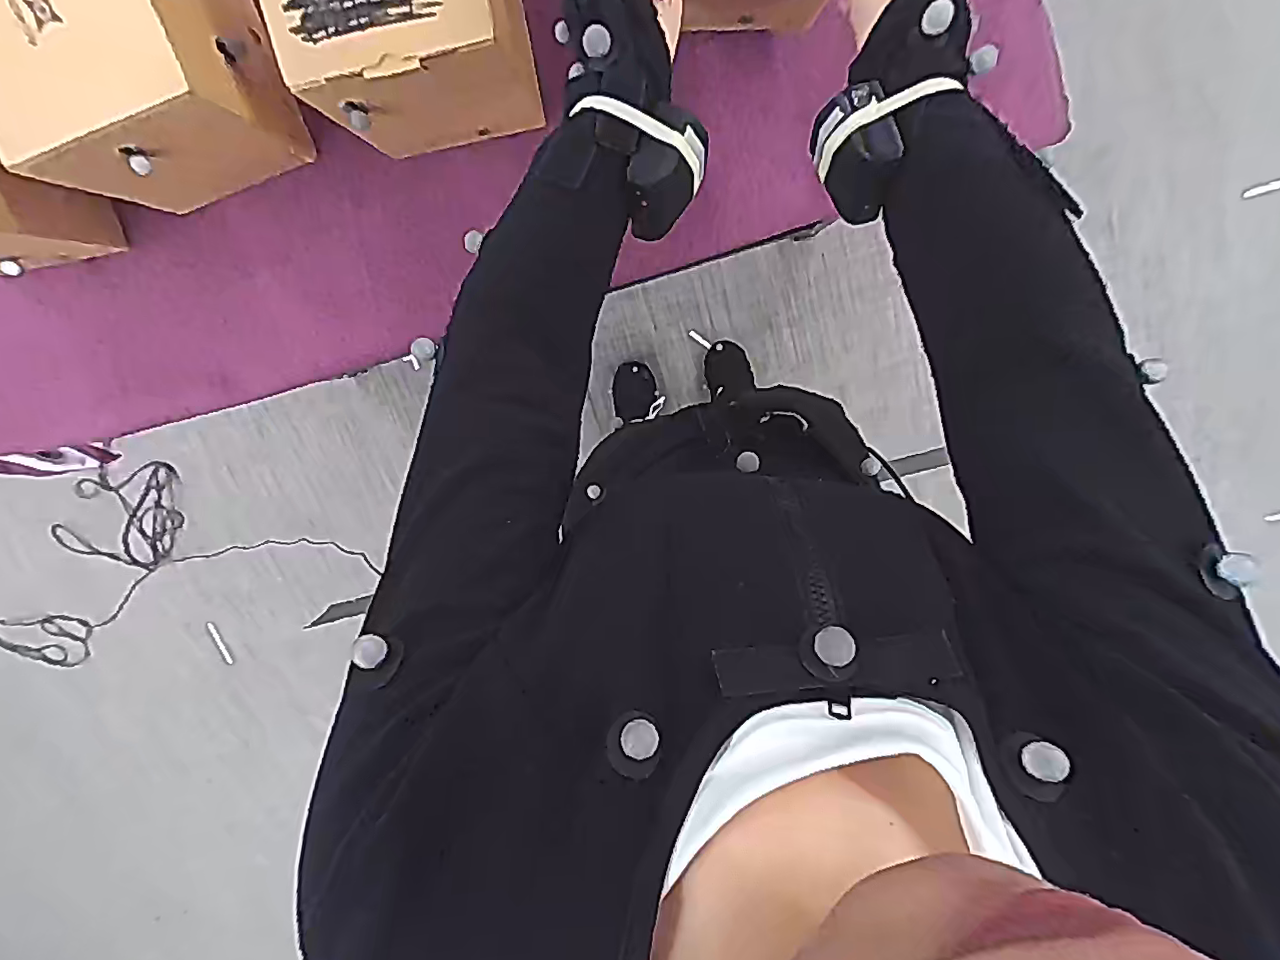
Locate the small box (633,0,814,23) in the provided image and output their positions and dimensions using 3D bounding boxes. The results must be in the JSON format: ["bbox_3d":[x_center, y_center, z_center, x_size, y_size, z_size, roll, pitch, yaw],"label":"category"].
[{"bbox_3d":[0.071,-0.467,0.389,0.168,0.176,0.179,-1,108,-1],"label":"small box"}]
